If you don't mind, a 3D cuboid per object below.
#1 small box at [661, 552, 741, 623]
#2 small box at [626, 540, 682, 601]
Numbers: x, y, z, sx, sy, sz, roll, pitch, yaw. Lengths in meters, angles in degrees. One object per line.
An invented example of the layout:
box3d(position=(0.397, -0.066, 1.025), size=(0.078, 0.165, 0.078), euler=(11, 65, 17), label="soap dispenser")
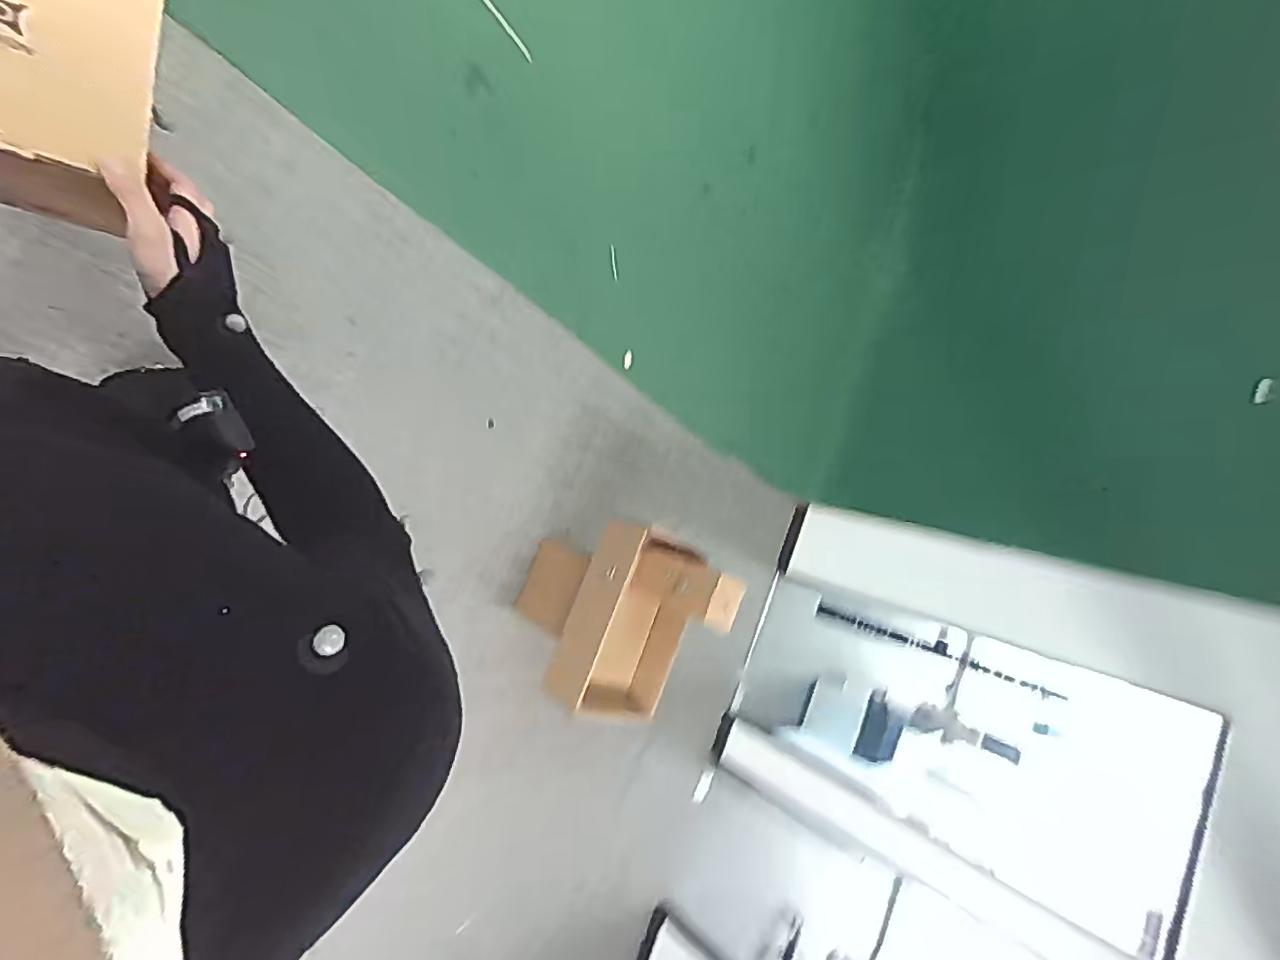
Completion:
box3d(position=(0.201, 0.355, 1.797), size=(0.179, 0.176, 0.168), euler=(36, 74, -46), label="small box")
box3d(position=(0.083, 0.324, 1.906), size=(0.179, 0.176, 0.168), euler=(32, 77, -47), label="small box")
